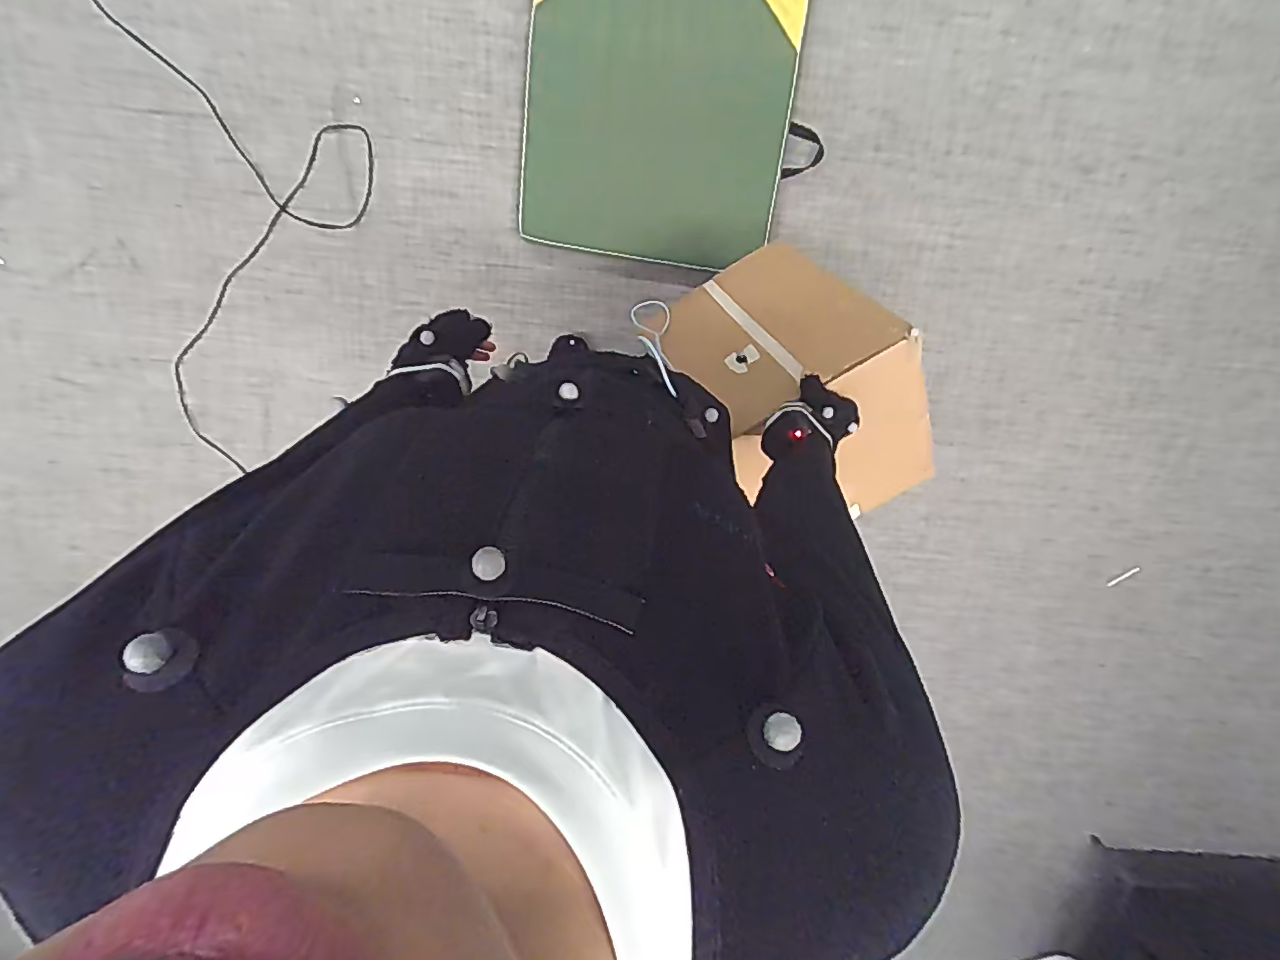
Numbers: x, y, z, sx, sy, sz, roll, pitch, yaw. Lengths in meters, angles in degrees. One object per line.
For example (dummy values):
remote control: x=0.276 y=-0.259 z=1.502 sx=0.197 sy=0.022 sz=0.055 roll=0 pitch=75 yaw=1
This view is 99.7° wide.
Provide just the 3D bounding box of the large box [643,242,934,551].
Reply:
large box: x=0.253 y=-0.156 z=0.972 sx=0.320 sy=0.408 sz=0.320 roll=-31 pitch=133 yaw=7
